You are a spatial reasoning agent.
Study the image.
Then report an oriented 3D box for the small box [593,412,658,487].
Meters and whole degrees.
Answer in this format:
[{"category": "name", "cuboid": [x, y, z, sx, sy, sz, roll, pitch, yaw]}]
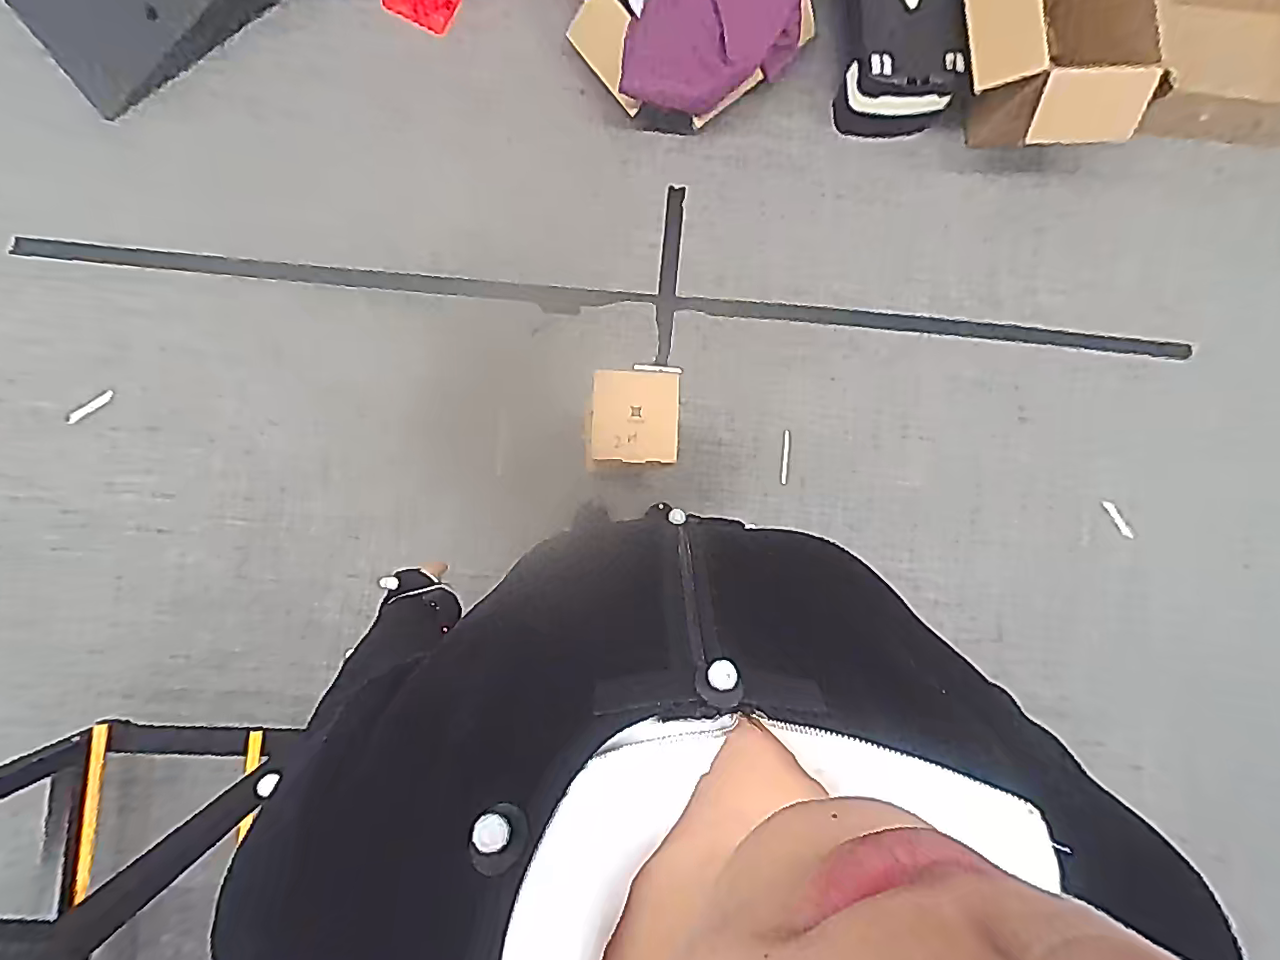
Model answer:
[{"category": "small box", "cuboid": [-0.035, -0.073, 1.357, 0.168, 0.176, 0.179, -2, 90, -3]}]
